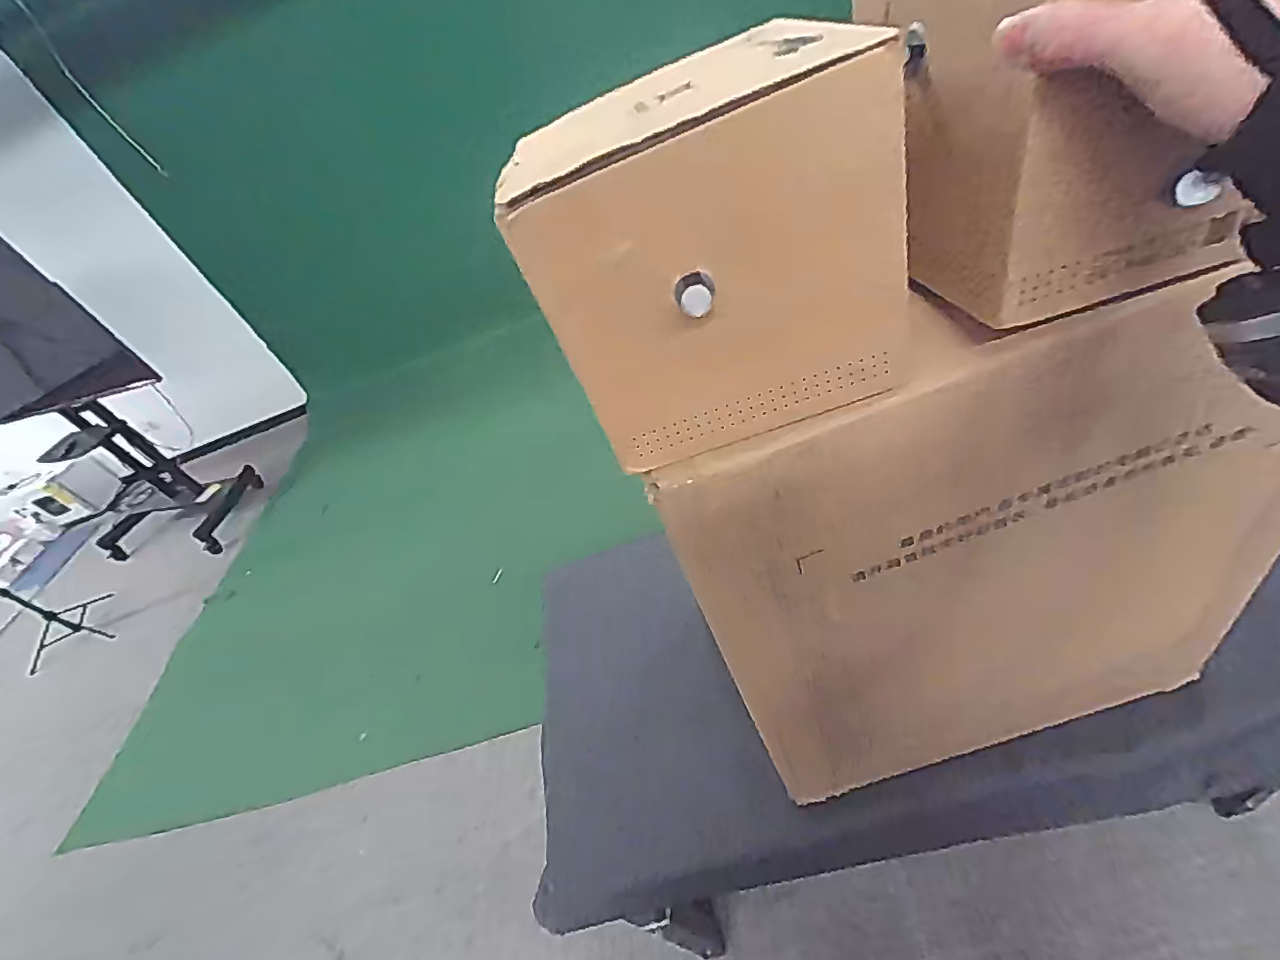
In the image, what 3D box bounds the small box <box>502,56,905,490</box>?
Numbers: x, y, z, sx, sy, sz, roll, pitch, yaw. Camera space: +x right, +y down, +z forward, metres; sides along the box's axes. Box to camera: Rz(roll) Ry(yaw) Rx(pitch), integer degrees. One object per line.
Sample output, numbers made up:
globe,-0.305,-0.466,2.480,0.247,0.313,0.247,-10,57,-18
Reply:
small box,0.041,-0.119,0.330,0.179,0.176,0.168,-19,41,8
